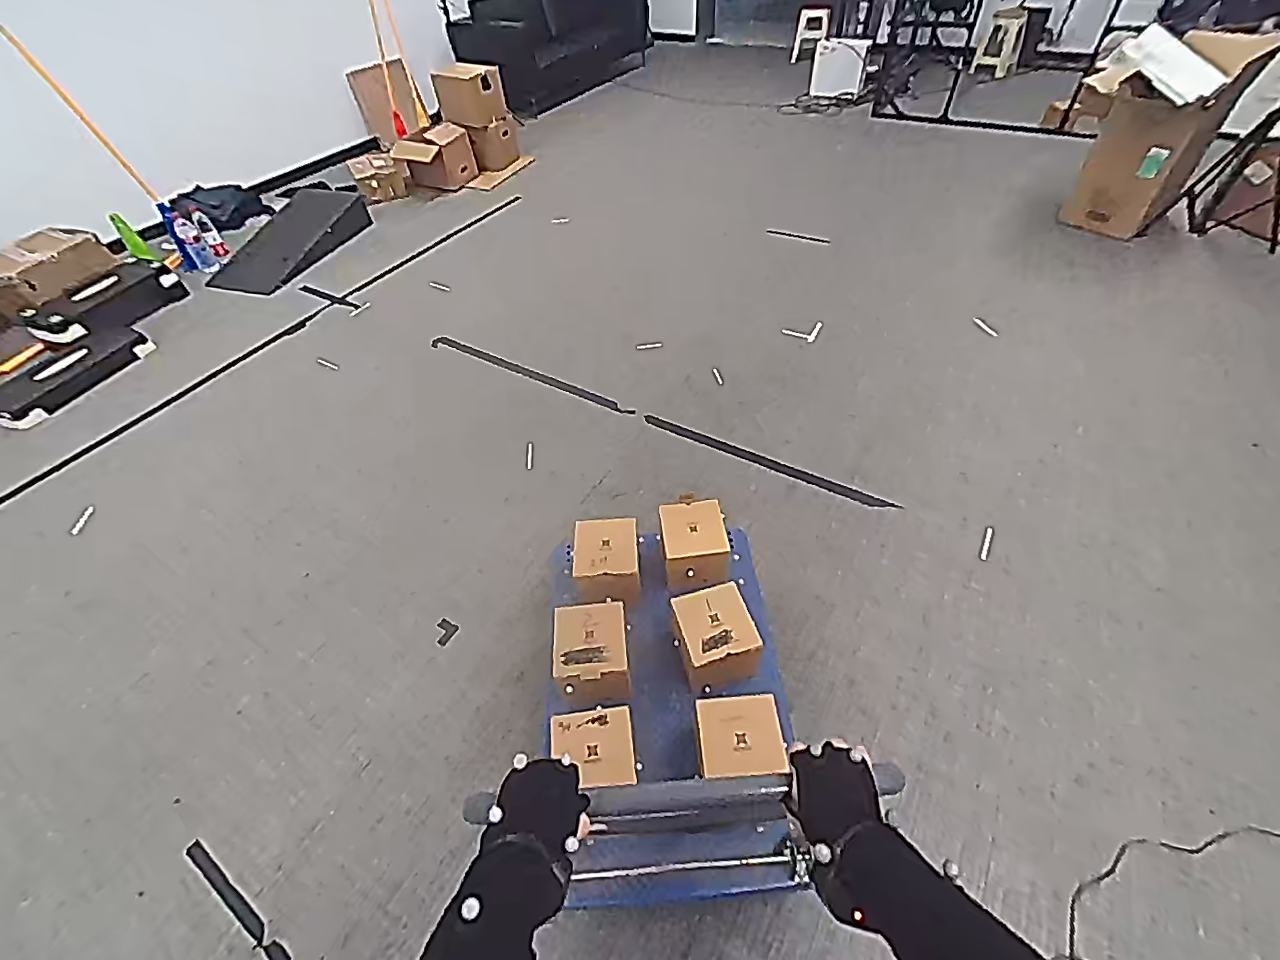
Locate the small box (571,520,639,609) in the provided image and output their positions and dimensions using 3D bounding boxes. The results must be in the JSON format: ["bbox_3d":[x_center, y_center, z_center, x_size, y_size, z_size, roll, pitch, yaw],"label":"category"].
[{"bbox_3d":[-0.090,0.230,1.463,0.168,0.176,0.179,-4,49,1],"label":"small box"}]

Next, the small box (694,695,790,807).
[{"bbox_3d":[0.205,0.576,1.139,0.168,0.176,0.179,-4,48,-1],"label":"small box"}]

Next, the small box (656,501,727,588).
[{"bbox_3d":[0.139,0.185,1.491,0.168,0.176,0.179,-7,48,-2],"label":"small box"}]

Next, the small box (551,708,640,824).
[{"bbox_3d":[-0.092,0.603,1.131,0.168,0.176,0.179,-7,49,-3],"label":"small box"}]
